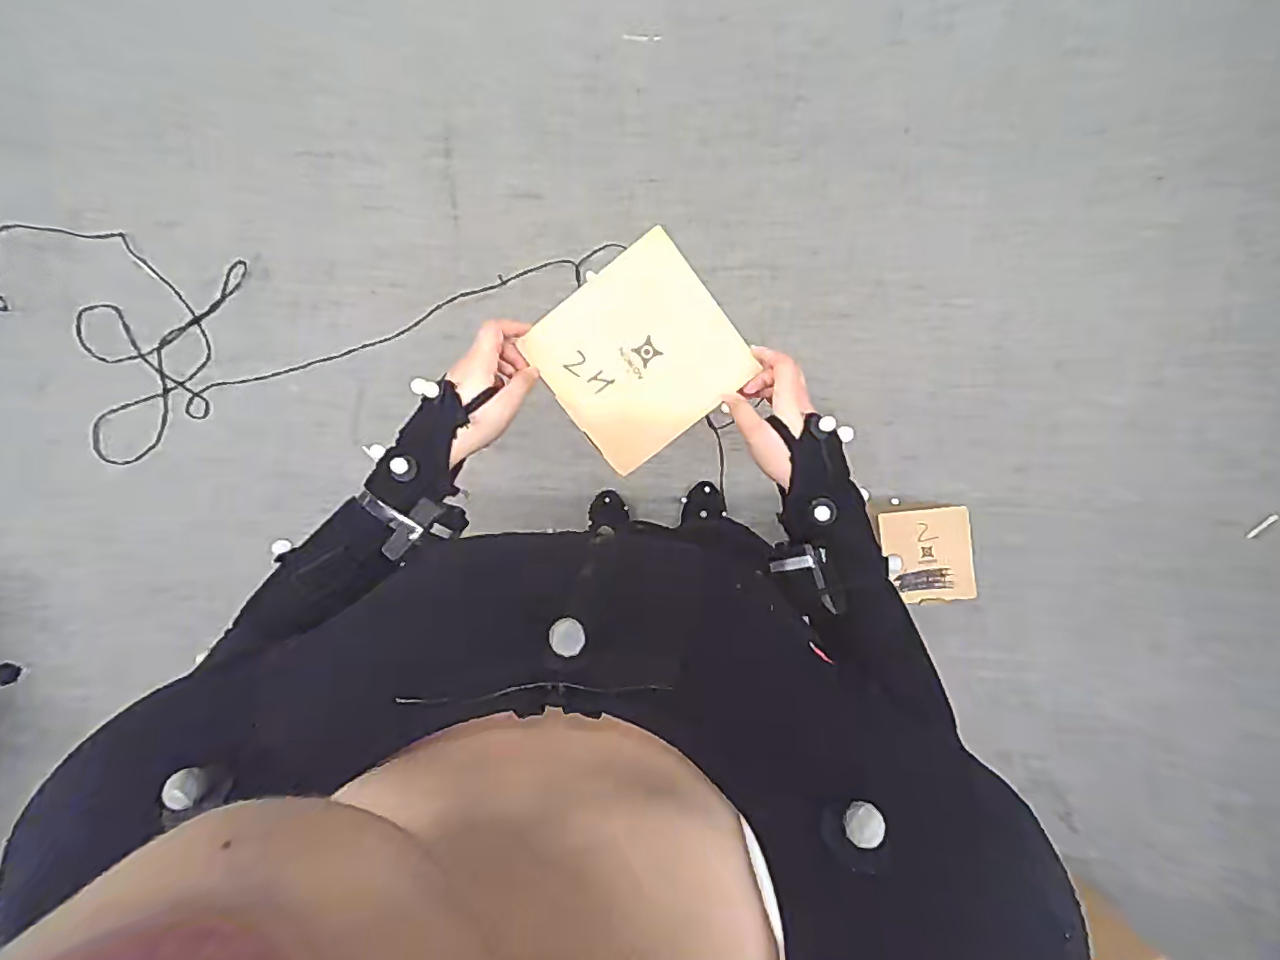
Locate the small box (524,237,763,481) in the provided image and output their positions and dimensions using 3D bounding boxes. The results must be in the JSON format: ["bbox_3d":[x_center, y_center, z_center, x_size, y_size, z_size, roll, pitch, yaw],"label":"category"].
[{"bbox_3d":[0.003,-0.126,0.595,0.179,0.176,0.168,-38,98,6],"label":"small box"}]

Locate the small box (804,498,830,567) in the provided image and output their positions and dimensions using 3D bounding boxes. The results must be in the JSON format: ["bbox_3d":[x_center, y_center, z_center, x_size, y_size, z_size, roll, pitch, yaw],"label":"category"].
[{"bbox_3d":[0.533,0.134,1.414,0.179,0.176,0.168,0,91,2],"label":"small box"}]

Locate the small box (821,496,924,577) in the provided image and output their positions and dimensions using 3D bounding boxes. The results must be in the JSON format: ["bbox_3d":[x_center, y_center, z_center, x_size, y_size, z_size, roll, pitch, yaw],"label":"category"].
[{"bbox_3d":[0.527,0.125,1.251,0.179,0.176,0.168,-3,92,0],"label":"small box"}]
